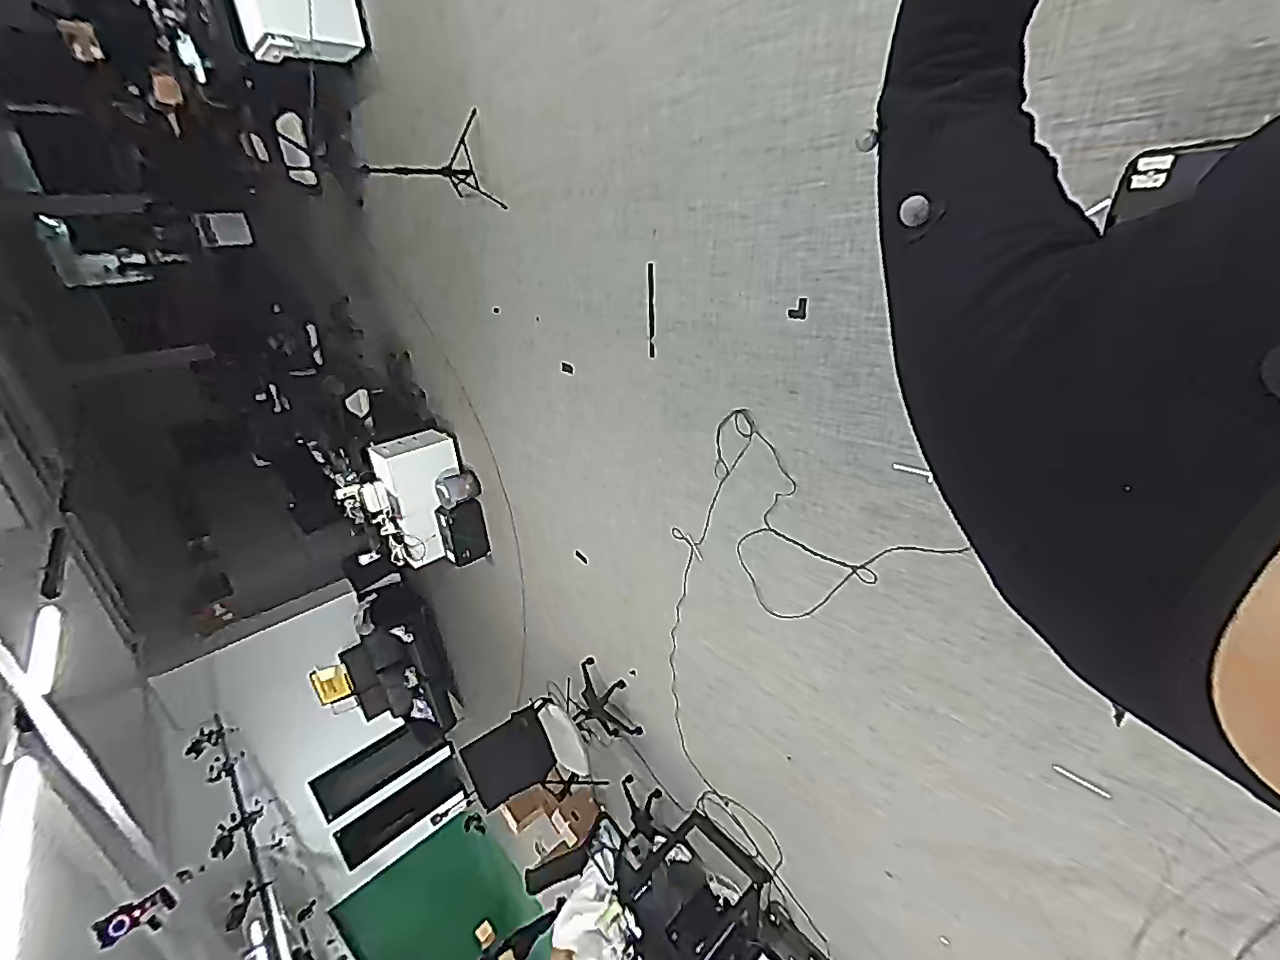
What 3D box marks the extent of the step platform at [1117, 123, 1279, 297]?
[{"bbox_3d":[1.248,-0.456,0.894,0.684,0.204,0.286,20,124,43],"label":"step platform"}]
